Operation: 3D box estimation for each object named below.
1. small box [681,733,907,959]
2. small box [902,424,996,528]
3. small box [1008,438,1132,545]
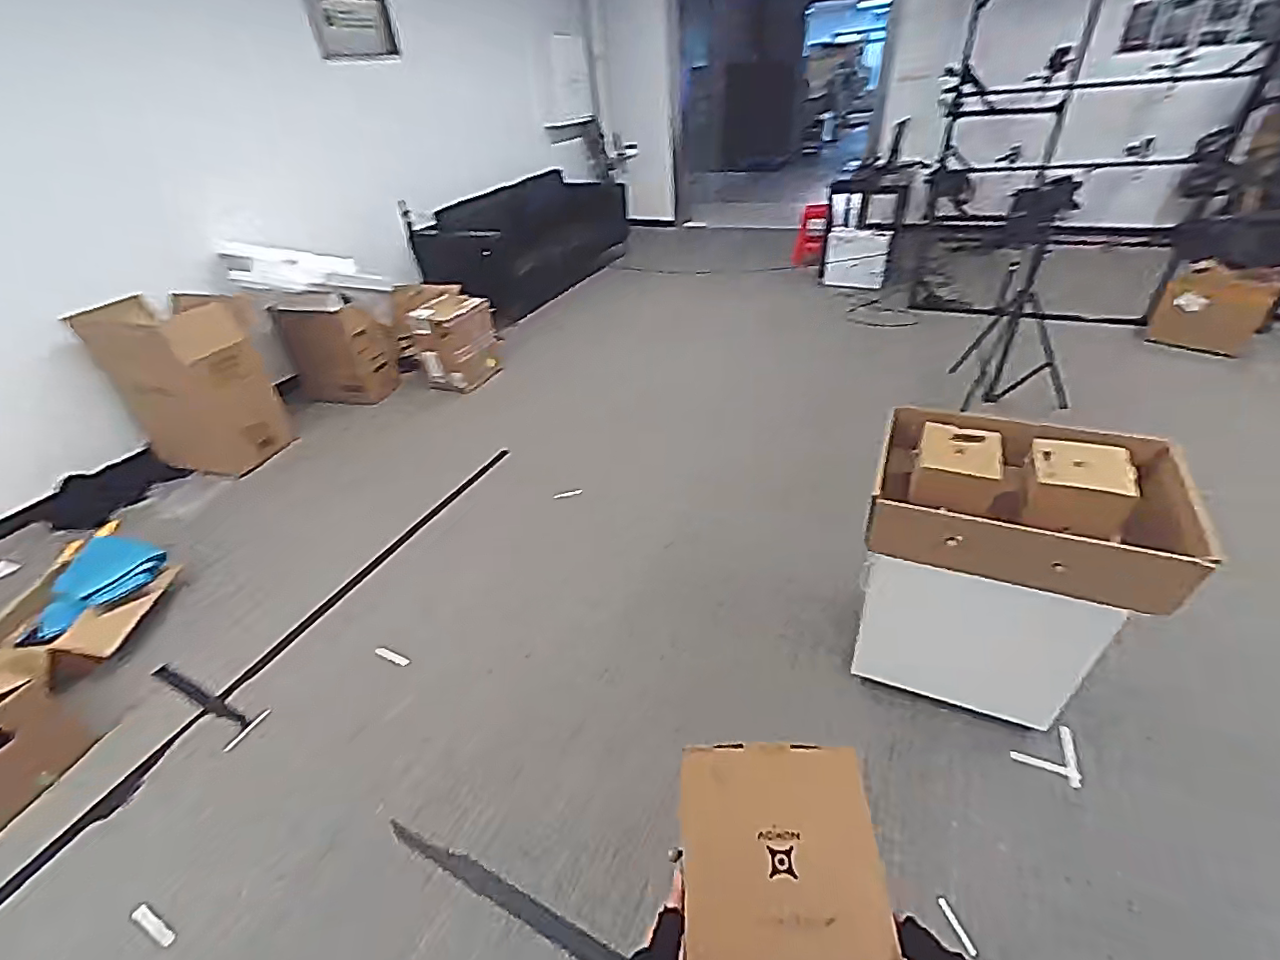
[{"bbox_3d":[0.125,0.359,0.517,0.168,0.176,0.179,-1,50,3],"label":"small box"},{"bbox_3d":[0.760,-0.011,1.337,0.168,0.176,0.179,12,46,22],"label":"small box"},{"bbox_3d":[0.983,0.029,1.253,0.179,0.176,0.168,11,44,23],"label":"small box"}]
